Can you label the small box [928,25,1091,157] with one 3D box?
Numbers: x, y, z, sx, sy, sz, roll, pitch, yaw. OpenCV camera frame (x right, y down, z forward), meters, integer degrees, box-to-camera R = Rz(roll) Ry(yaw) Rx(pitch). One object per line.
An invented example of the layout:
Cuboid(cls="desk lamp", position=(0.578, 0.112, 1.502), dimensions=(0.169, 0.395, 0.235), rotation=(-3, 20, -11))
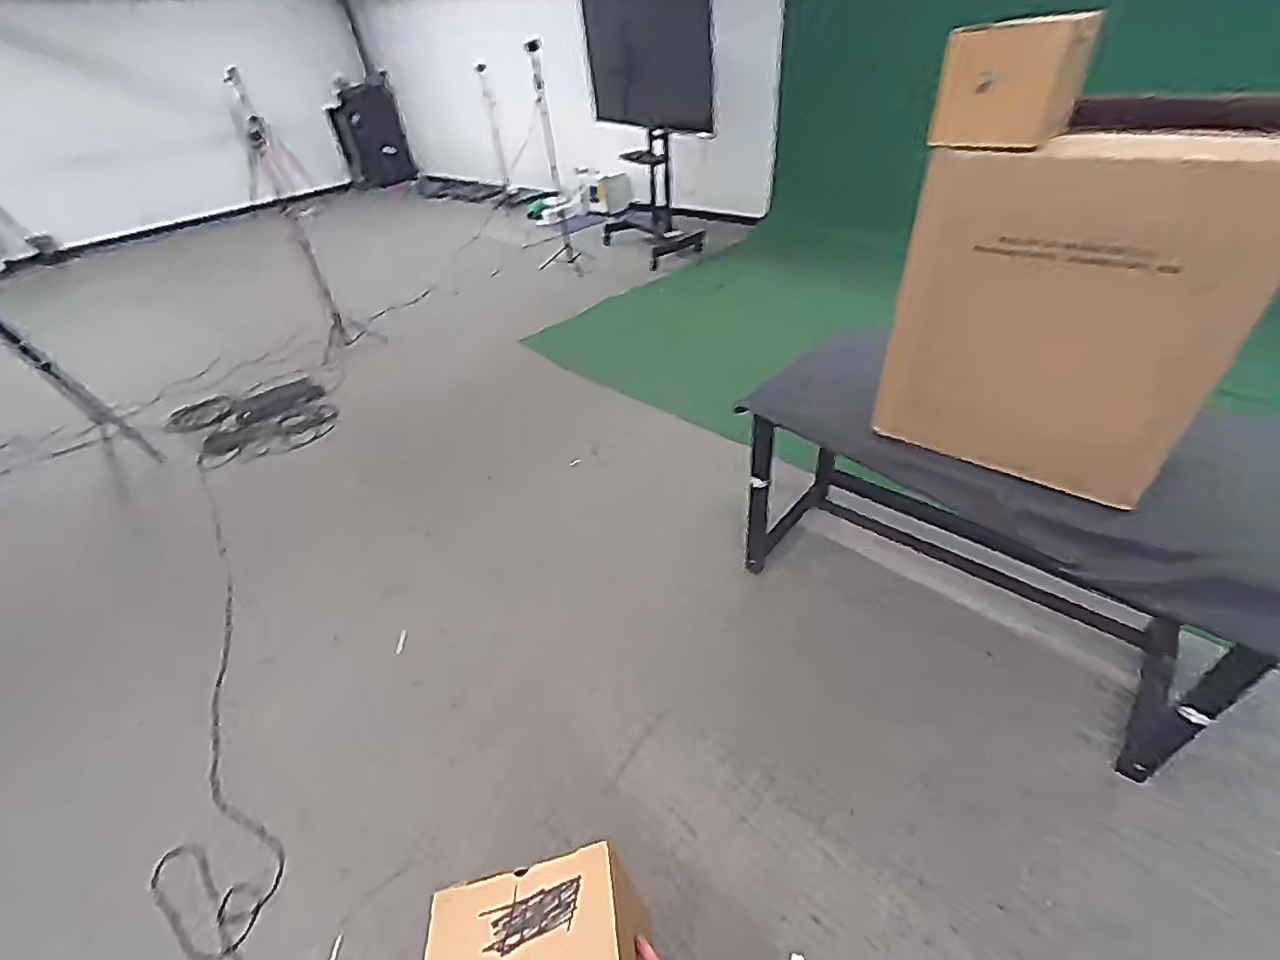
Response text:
Cuboid(cls="small box", position=(0.639, -0.679, 0.954), dimensions=(0.179, 0.176, 0.168), rotation=(28, 51, 37))
